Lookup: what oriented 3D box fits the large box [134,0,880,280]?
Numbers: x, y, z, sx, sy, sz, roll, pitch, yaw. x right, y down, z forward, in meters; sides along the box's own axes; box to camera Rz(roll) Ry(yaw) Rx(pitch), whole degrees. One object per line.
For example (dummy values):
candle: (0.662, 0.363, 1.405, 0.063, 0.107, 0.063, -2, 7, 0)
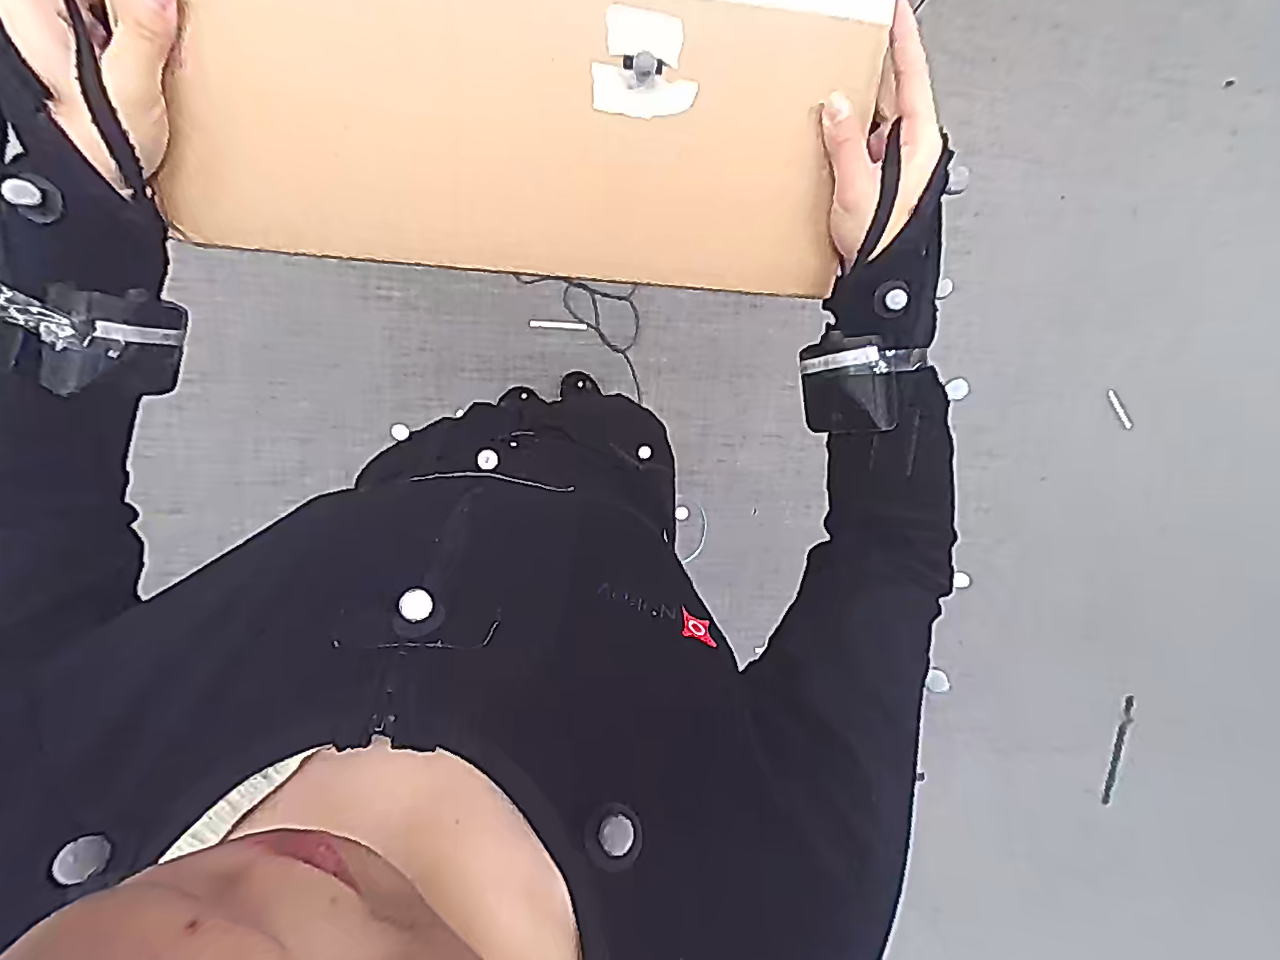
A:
large box: (-0.075, -0.340, 0.420, 0.408, 0.320, 0.320, 2, 114, -8)
